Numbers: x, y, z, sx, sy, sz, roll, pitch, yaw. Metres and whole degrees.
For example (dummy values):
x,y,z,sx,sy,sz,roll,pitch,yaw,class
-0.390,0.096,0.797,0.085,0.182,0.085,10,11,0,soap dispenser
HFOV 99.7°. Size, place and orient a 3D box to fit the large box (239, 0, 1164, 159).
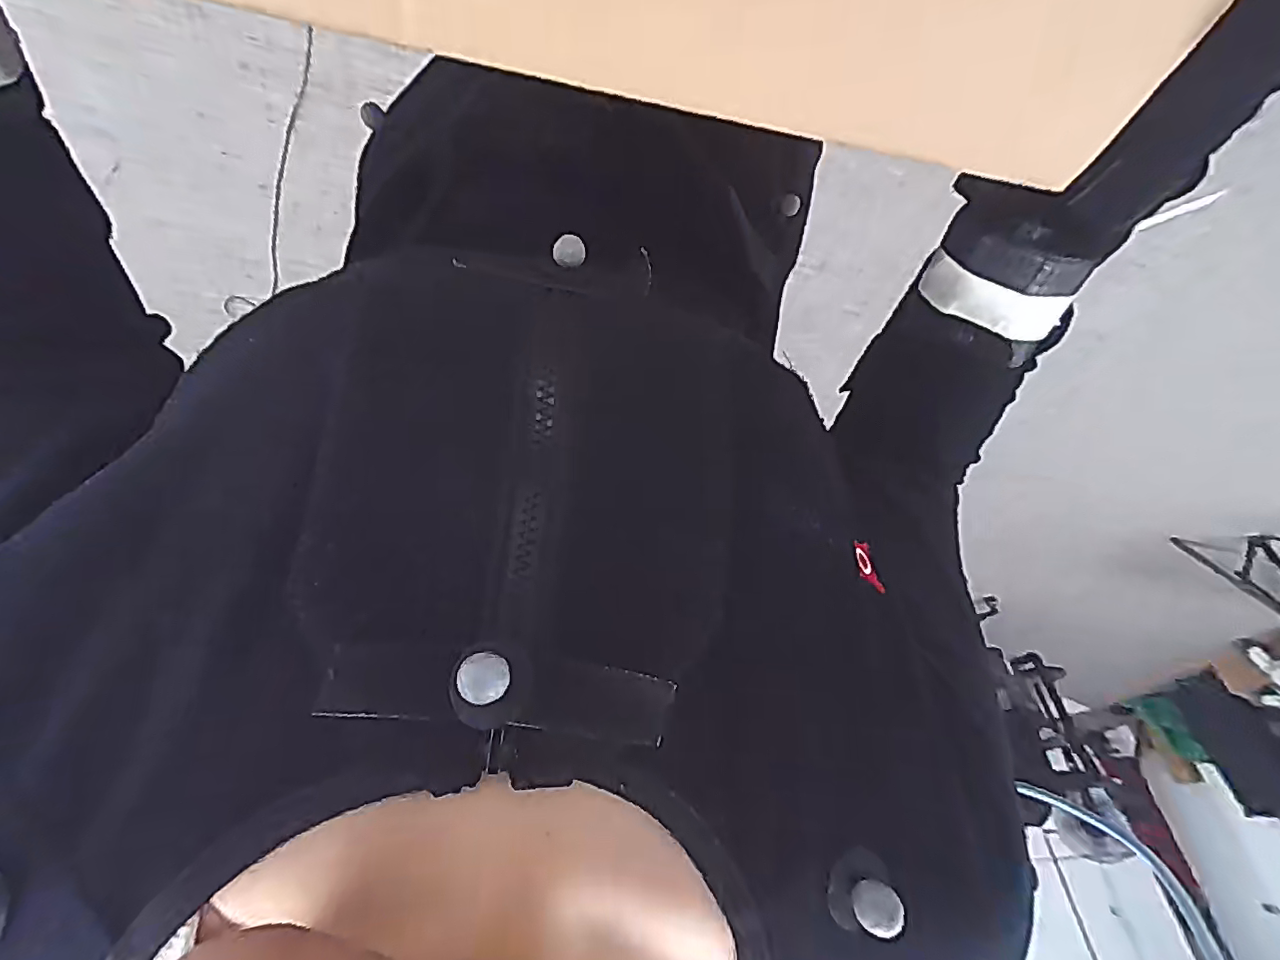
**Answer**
x,y,z,sx,sy,sz,roll,pitch,yaw,class
-0.010,-0.345,0.130,0.408,0.320,0.320,5,147,-11,large box
